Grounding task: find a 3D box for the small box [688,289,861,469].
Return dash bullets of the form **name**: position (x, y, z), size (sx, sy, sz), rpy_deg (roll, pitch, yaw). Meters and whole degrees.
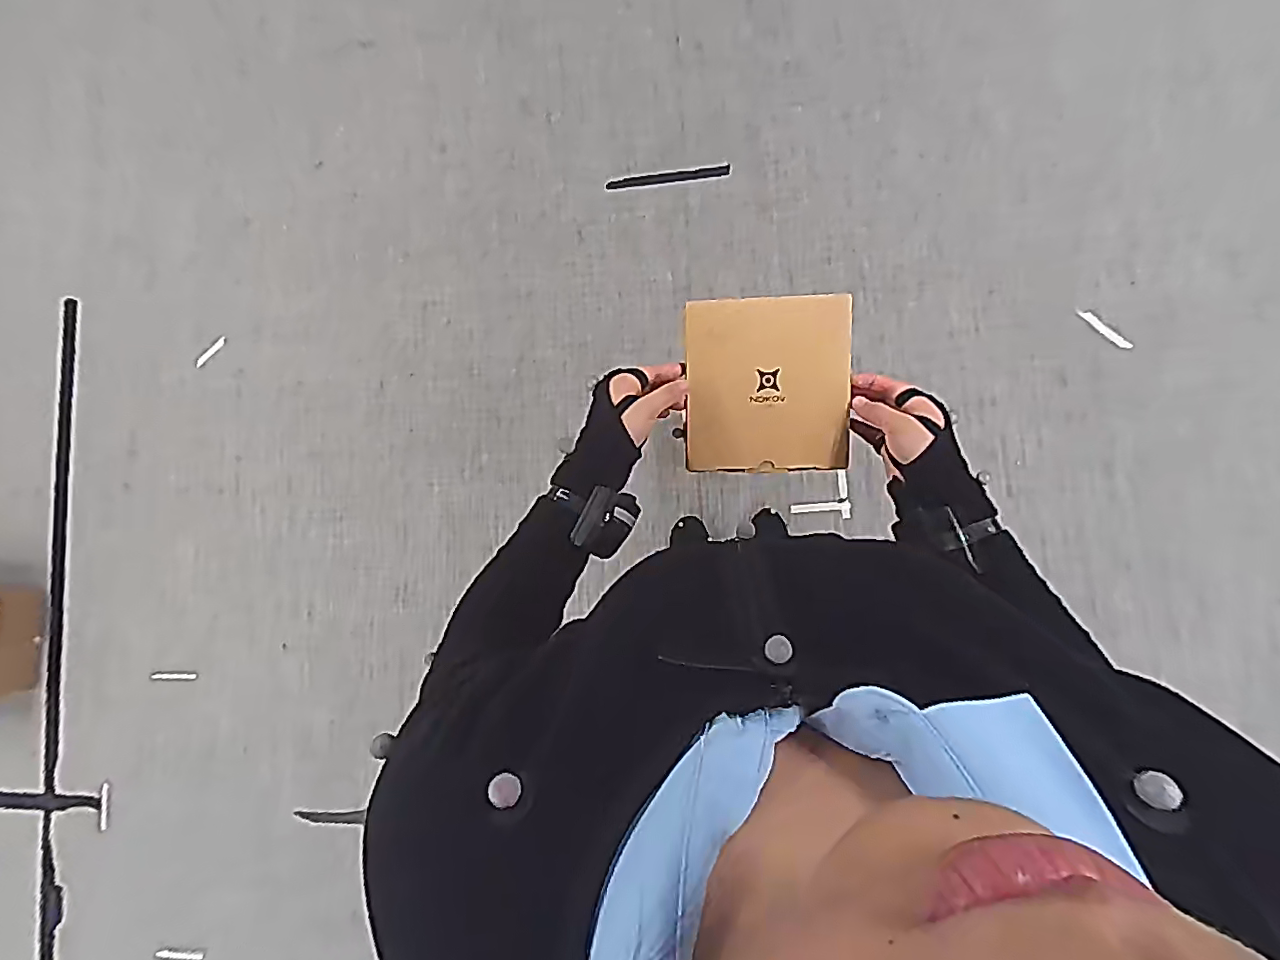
- **small box**: position (0.139, -0.107, 0.617), size (0.168, 0.176, 0.179), rpy_deg (-1, 98, 4)
